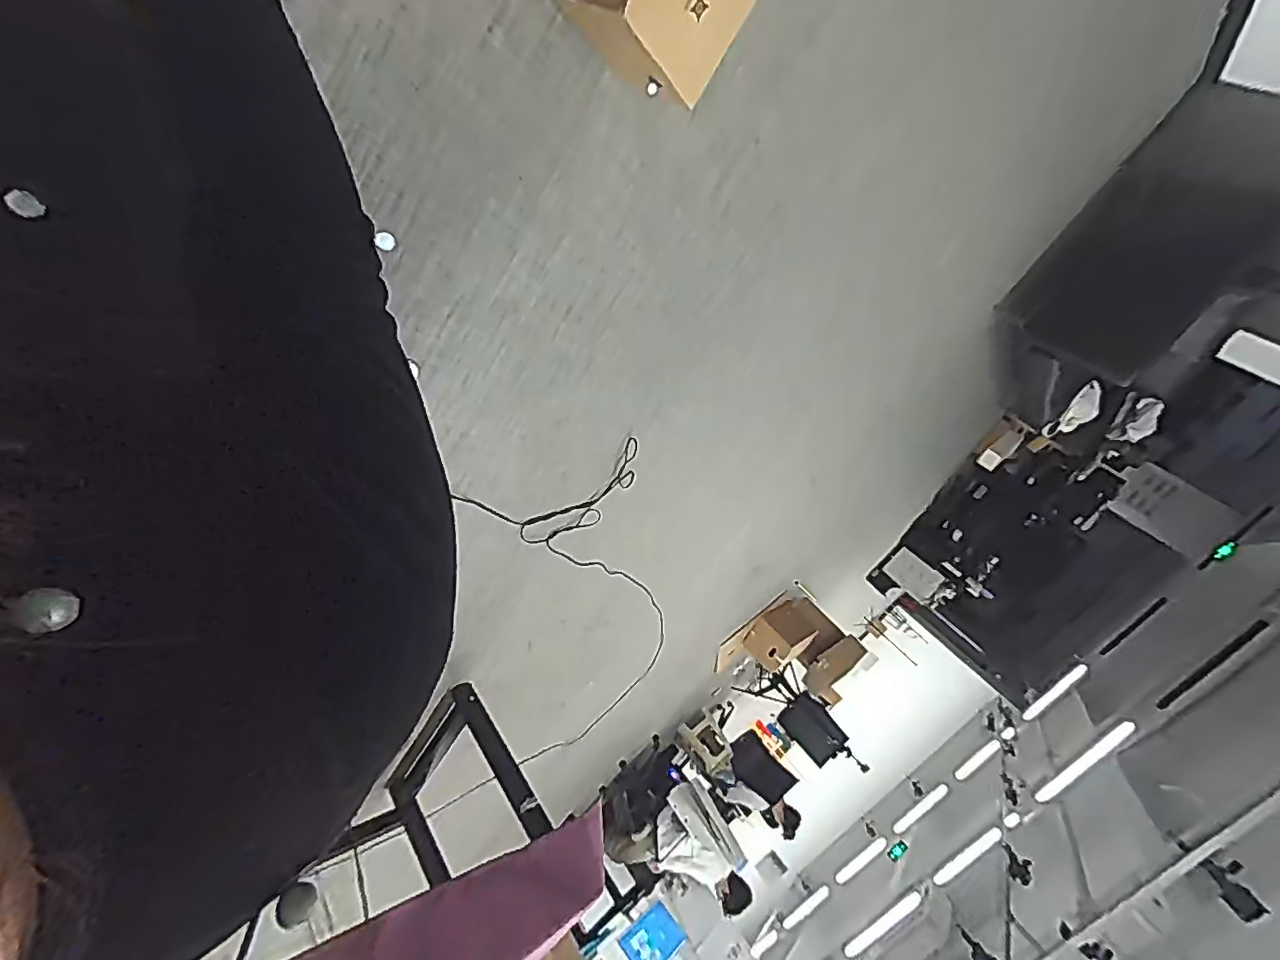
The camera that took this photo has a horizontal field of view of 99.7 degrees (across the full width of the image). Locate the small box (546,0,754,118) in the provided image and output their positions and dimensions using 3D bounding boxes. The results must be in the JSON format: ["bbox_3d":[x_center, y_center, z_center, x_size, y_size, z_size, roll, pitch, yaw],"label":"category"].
[{"bbox_3d":[0.013,-0.632,0.712,0.179,0.176,0.168,9,119,-56],"label":"small box"}]
